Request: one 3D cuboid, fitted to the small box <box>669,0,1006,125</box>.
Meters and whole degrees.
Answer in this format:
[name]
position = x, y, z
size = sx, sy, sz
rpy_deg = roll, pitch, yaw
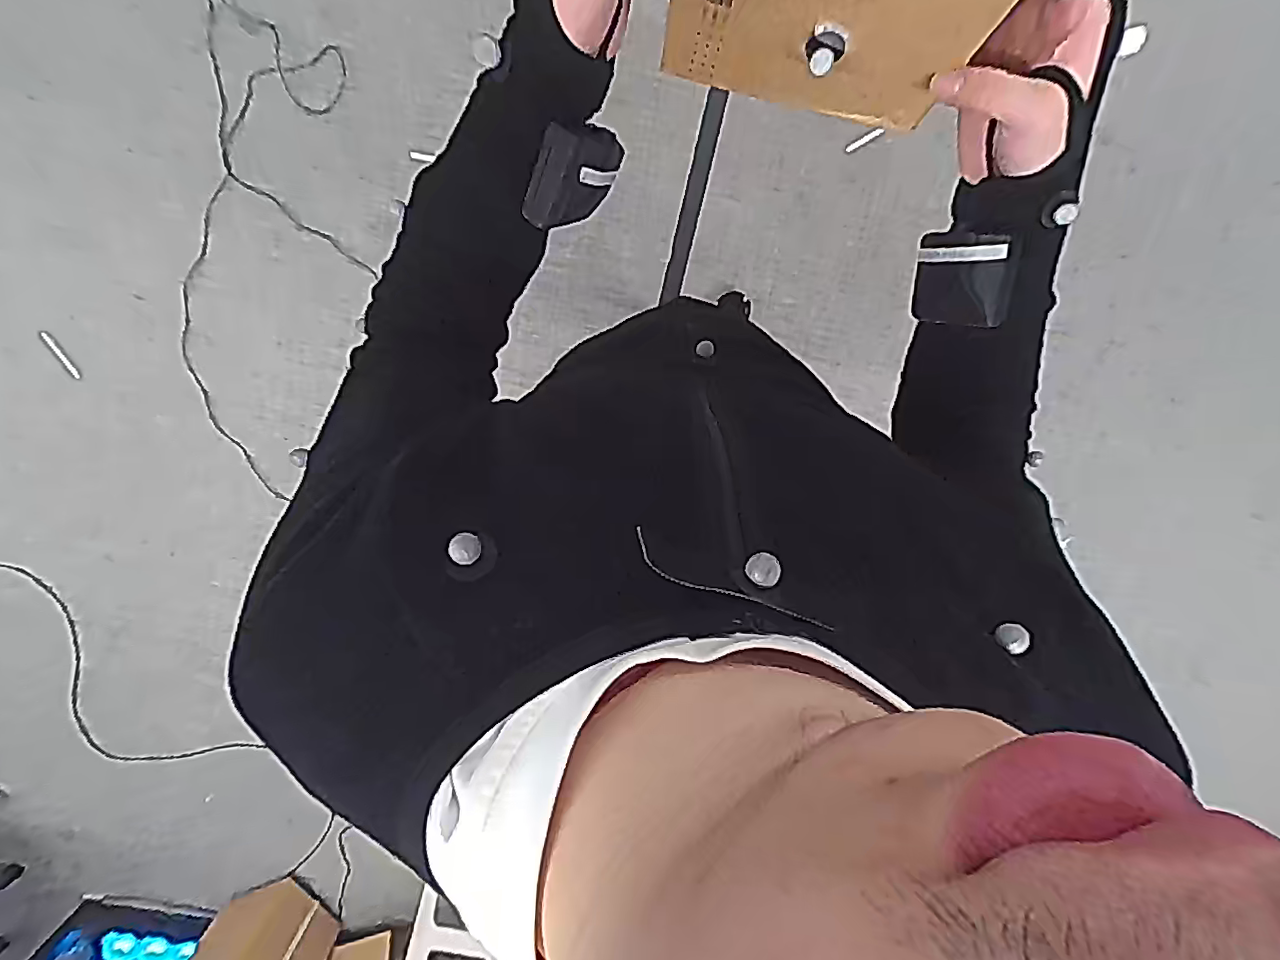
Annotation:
[small box]
position = 0.116, -0.333, 0.273
size = 0.176, 0.168, 0.179
rpy_deg = 11, 87, -5
